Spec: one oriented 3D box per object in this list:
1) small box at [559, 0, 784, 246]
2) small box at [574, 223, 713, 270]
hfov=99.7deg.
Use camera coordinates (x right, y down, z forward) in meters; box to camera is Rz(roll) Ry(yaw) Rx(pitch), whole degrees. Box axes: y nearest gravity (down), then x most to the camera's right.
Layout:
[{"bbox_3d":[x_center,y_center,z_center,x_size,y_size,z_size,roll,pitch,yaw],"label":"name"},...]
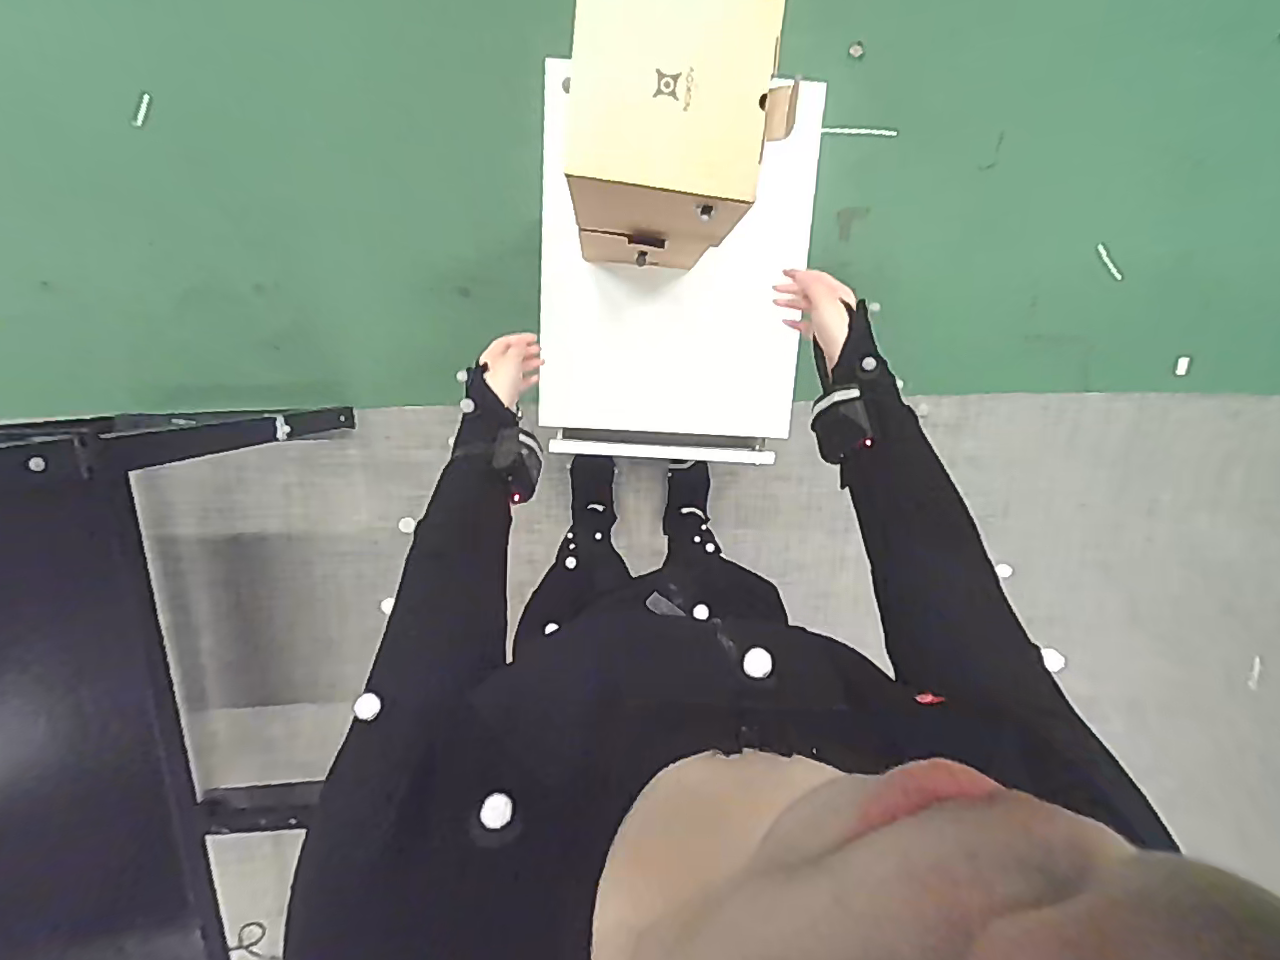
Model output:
[{"bbox_3d":[0.020,-0.343,0.532,0.179,0.176,0.168,5,100,-5],"label":"small box"},{"bbox_3d":[0.007,-0.376,0.691,0.168,0.176,0.179,3,101,-5],"label":"small box"}]
